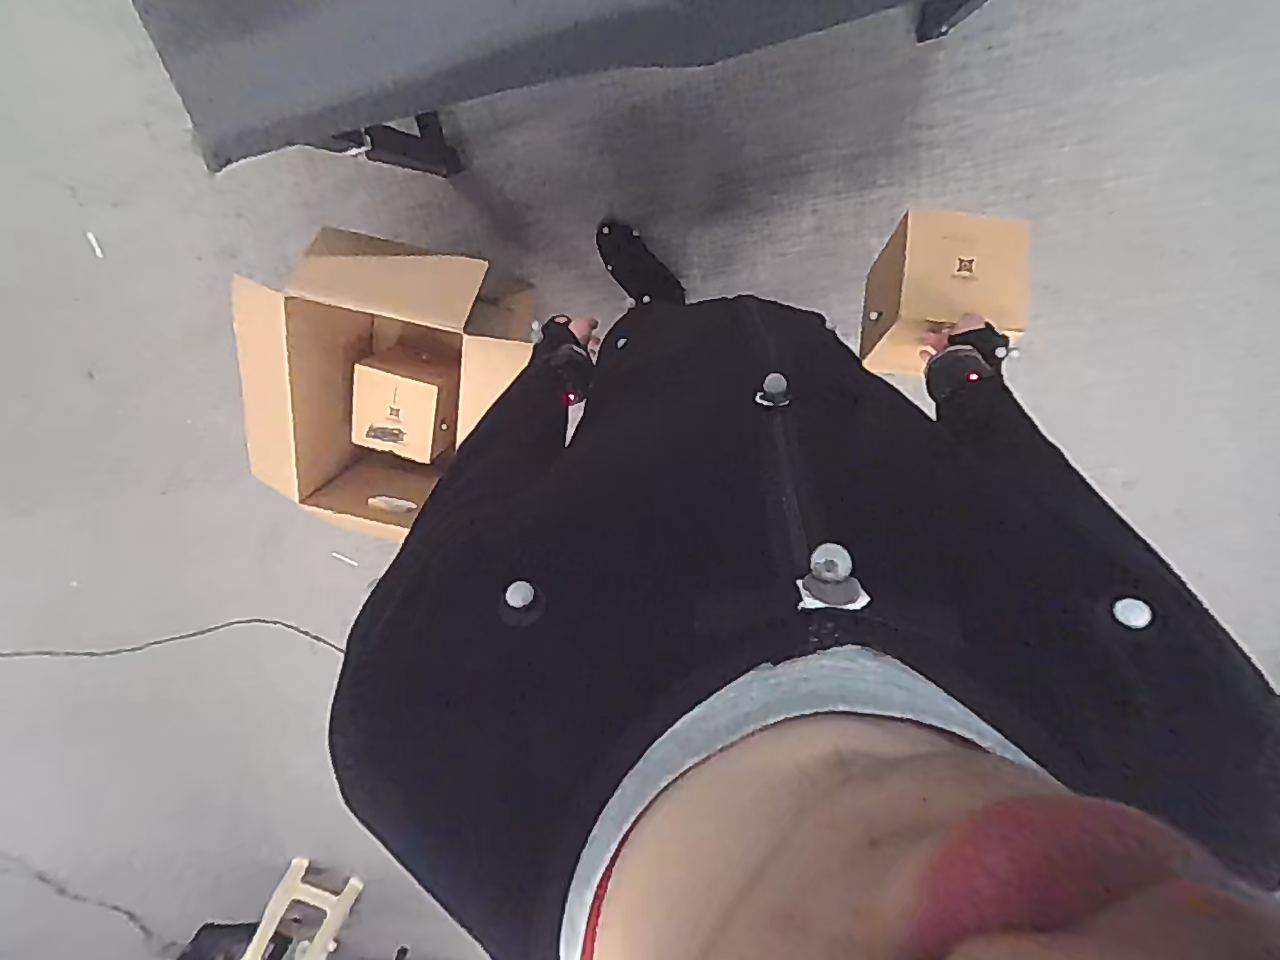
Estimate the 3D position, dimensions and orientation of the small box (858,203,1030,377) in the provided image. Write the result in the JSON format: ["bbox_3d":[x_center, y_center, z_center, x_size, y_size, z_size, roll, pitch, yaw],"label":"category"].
[{"bbox_3d":[0.439,-0.270,0.804,0.168,0.176,0.179,10,78,3],"label":"small box"}]
